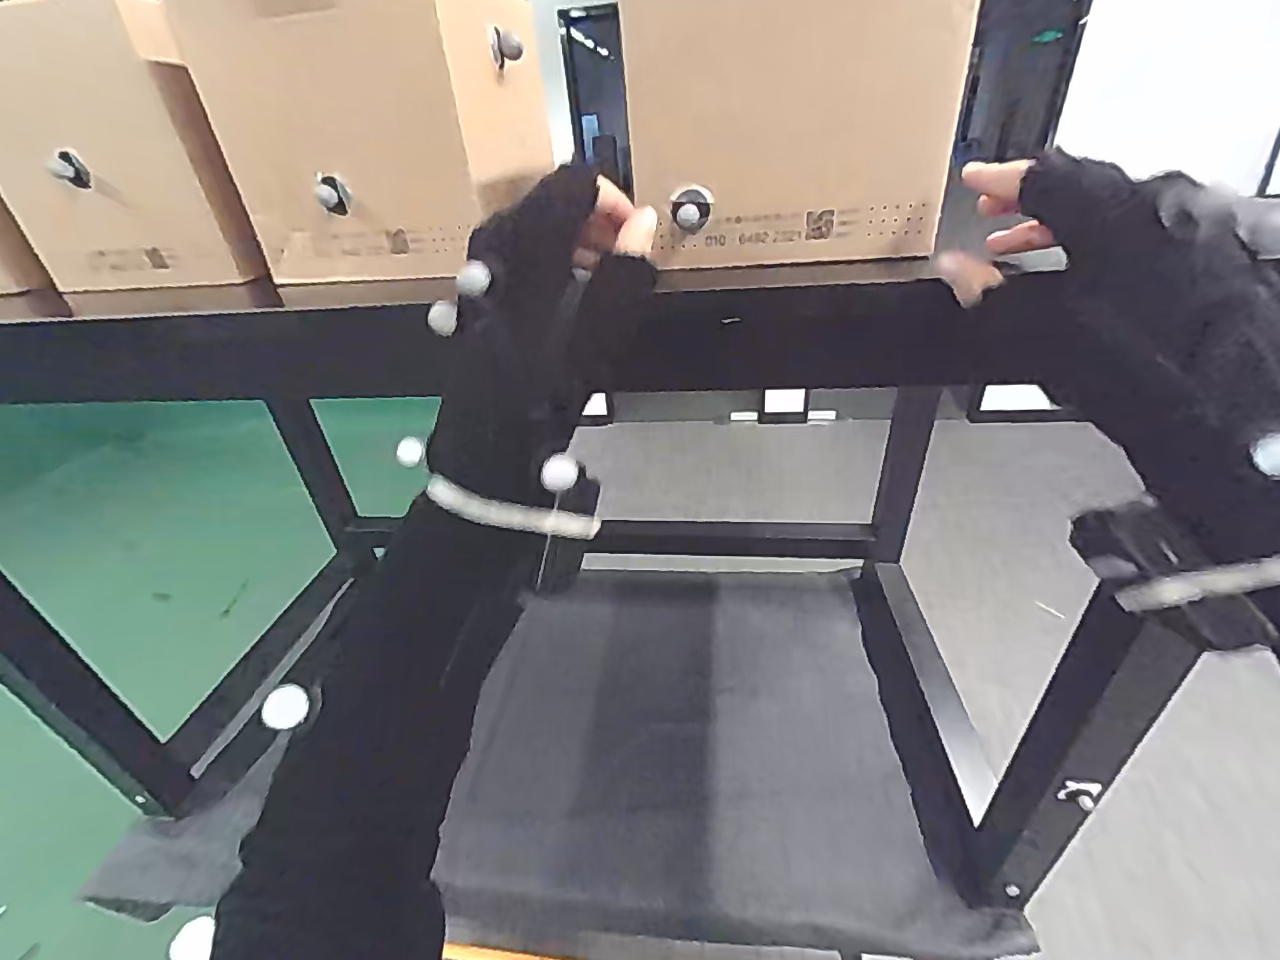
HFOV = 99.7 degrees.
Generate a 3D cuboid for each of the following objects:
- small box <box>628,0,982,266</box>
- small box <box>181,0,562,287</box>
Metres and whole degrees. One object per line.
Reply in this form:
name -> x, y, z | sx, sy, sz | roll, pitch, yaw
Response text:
small box -> 0.092, -0.233, 0.335 | 0.168, 0.176, 0.179 | 2, 32, 10
small box -> -0.161, -0.246, 0.392 | 0.168, 0.176, 0.179 | 1, 33, 9
